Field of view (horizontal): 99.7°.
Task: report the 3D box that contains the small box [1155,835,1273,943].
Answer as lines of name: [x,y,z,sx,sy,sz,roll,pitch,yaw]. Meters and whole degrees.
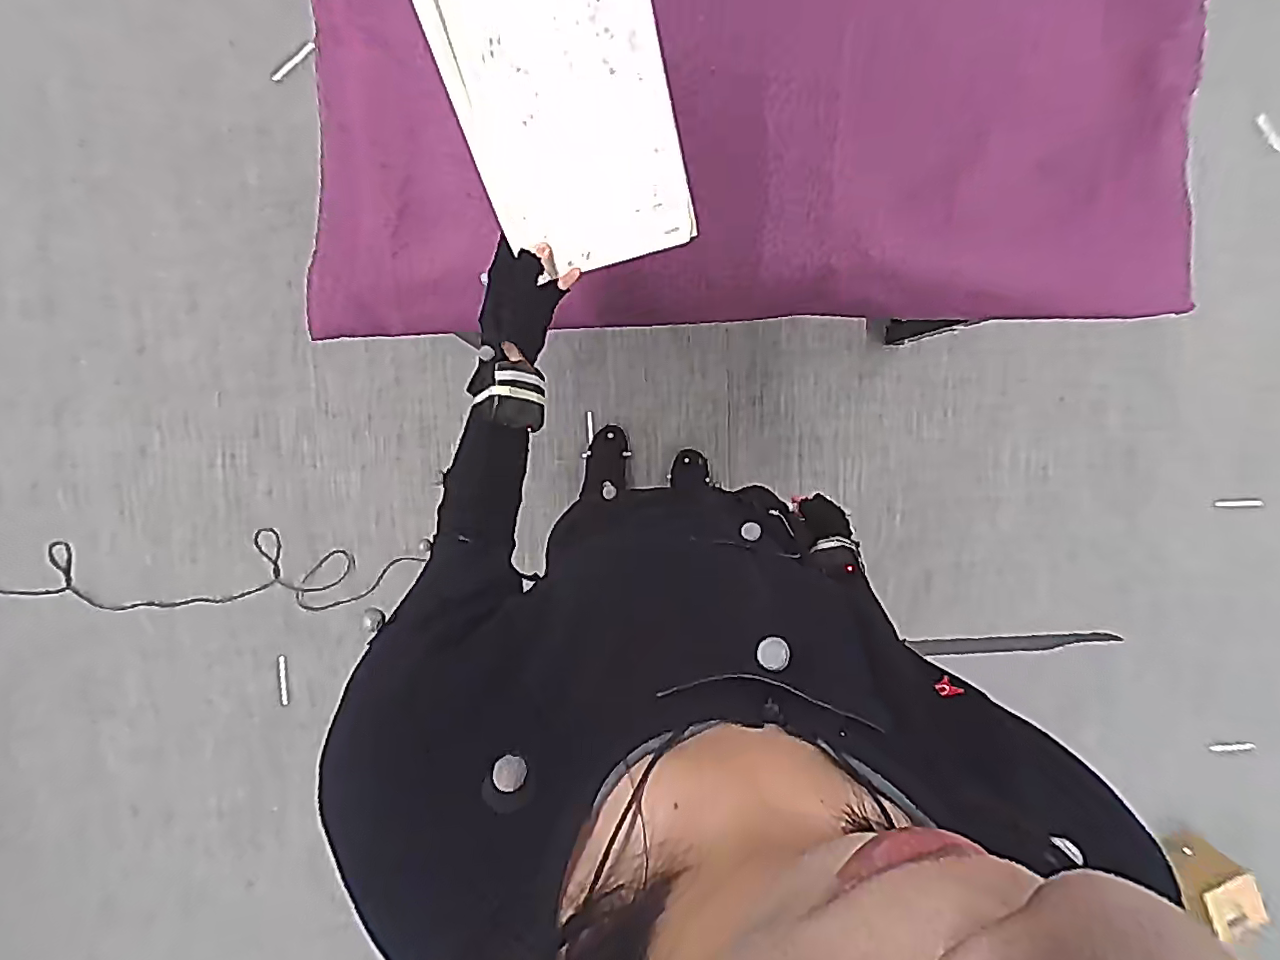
small box: [1.773,1.263,1.680,0.168,0.176,0.179,-25,95,-2]
